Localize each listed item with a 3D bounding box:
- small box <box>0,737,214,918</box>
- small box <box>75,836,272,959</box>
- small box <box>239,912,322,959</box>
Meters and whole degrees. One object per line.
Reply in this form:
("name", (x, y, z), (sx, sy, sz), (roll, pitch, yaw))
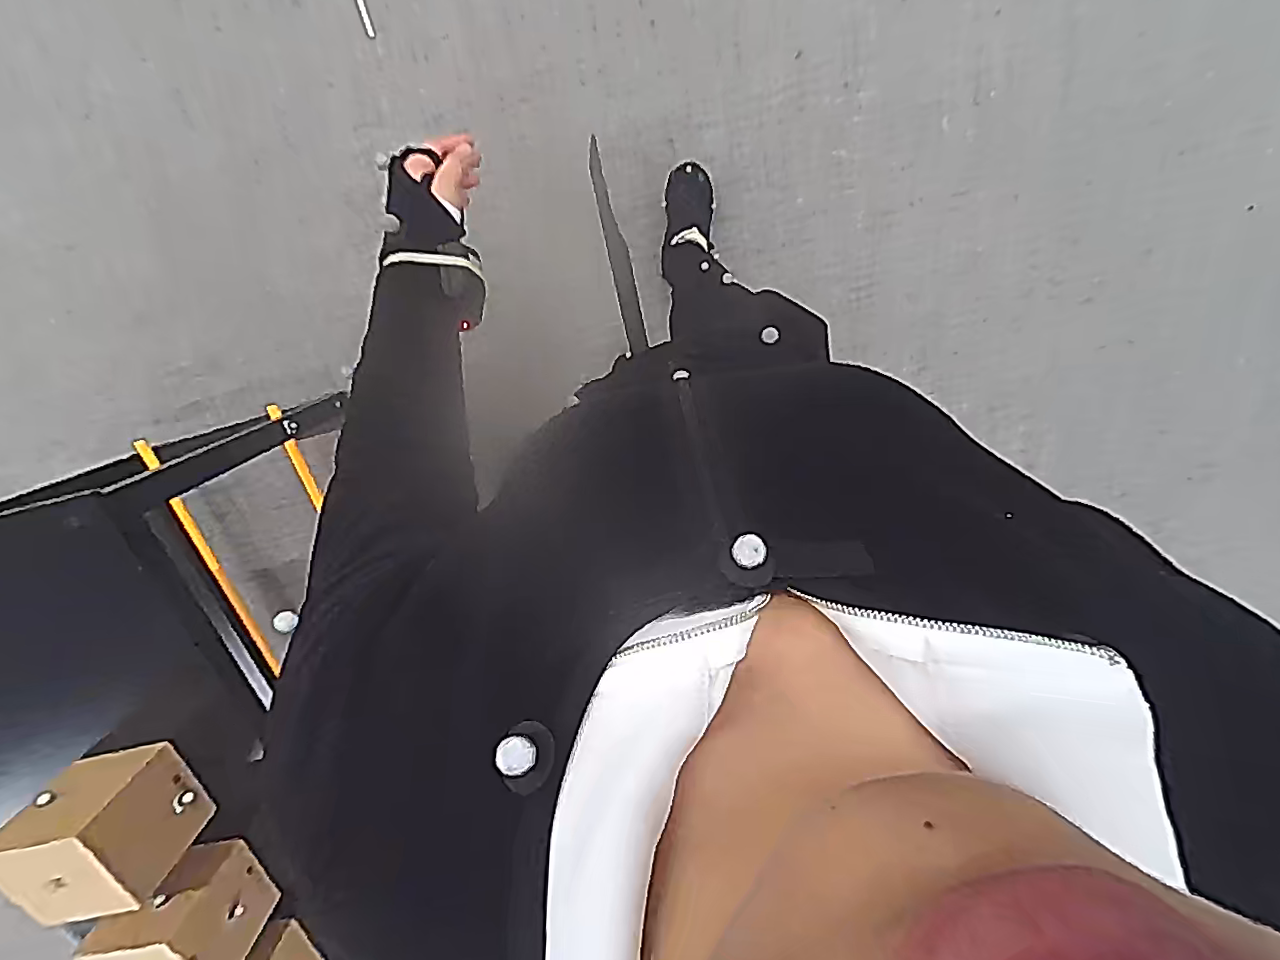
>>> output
("small box", (-0.853, 0.549, 0.868), (0.179, 0.176, 0.168), (-14, 112, 4))
("small box", (-0.795, 0.765, 0.951), (0.179, 0.176, 0.168), (-13, 110, 4))
("small box", (-0.749, 0.977, 1.032), (0.168, 0.176, 0.179), (-13, 110, 4))
